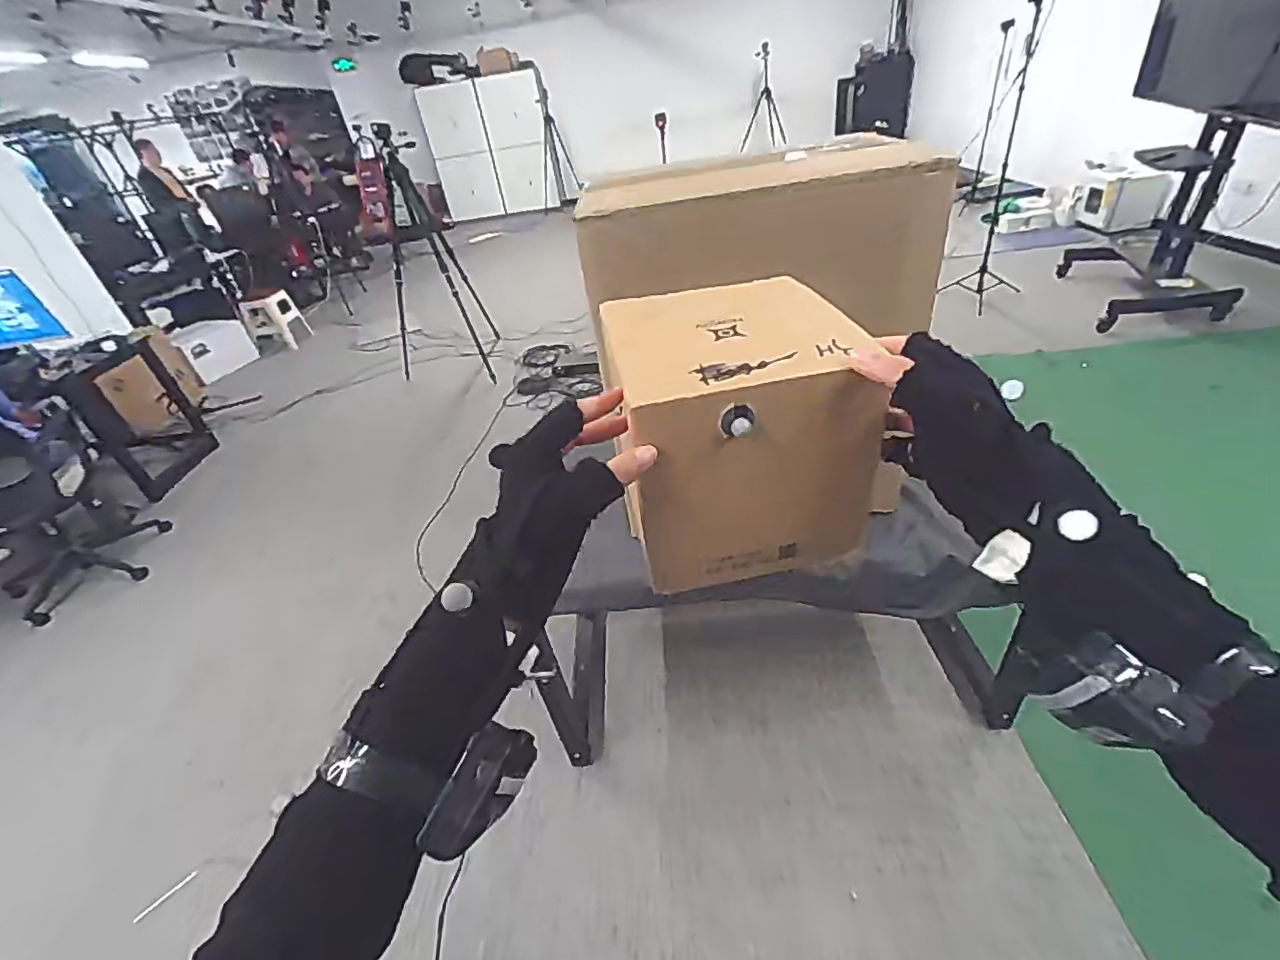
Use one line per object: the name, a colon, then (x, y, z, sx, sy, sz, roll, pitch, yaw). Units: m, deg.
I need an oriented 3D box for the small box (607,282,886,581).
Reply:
small box: (0.070, -0.045, 0.445, 0.168, 0.176, 0.179, -10, 36, -3)
